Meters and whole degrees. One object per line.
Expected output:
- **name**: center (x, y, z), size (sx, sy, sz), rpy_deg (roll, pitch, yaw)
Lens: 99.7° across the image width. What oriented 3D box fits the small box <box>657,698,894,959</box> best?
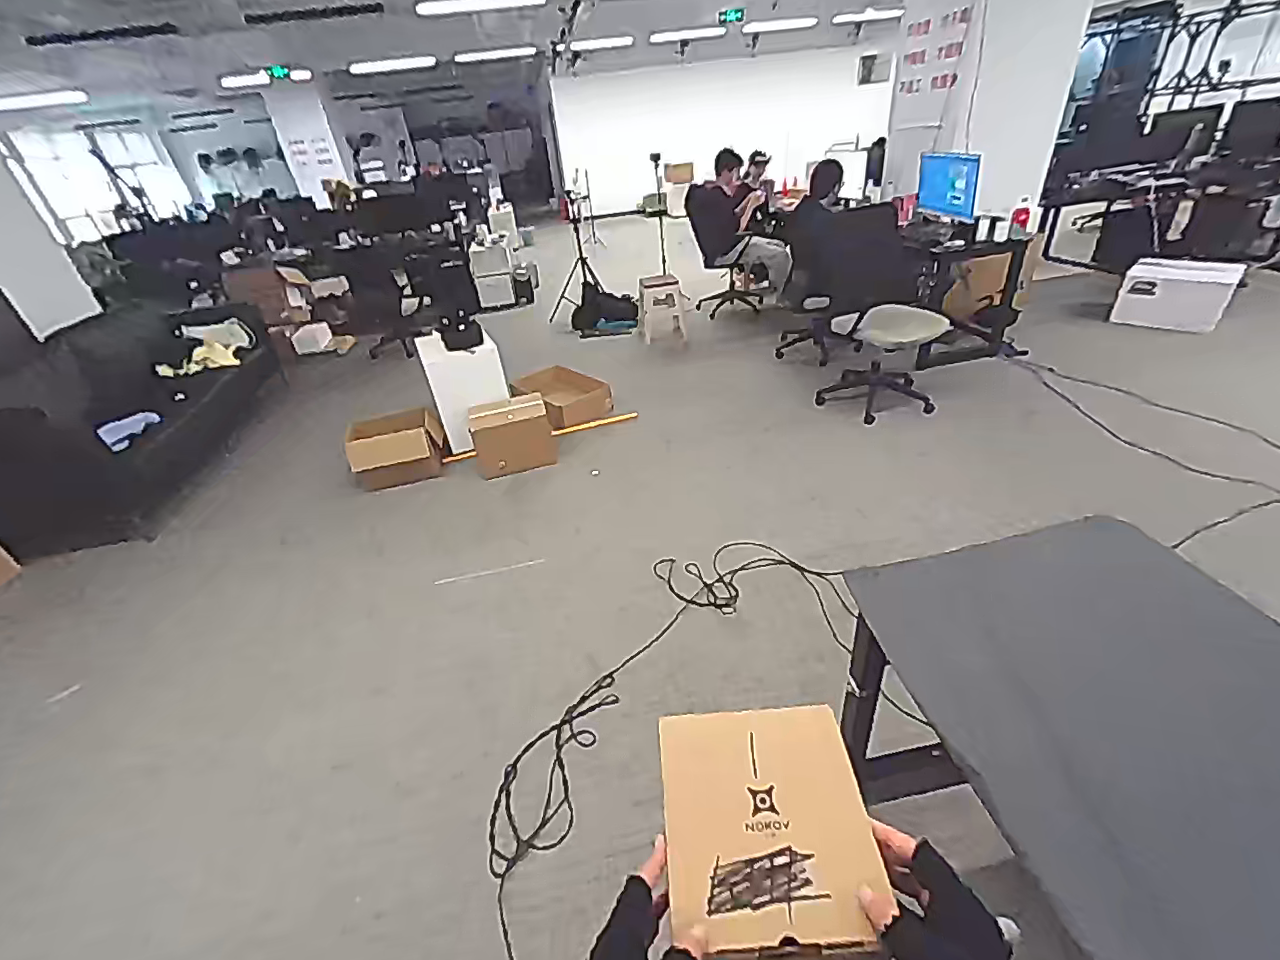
- **small box**: center (0.106, 0.329, 0.497), size (0.168, 0.176, 0.179), rpy_deg (-5, 38, 2)
